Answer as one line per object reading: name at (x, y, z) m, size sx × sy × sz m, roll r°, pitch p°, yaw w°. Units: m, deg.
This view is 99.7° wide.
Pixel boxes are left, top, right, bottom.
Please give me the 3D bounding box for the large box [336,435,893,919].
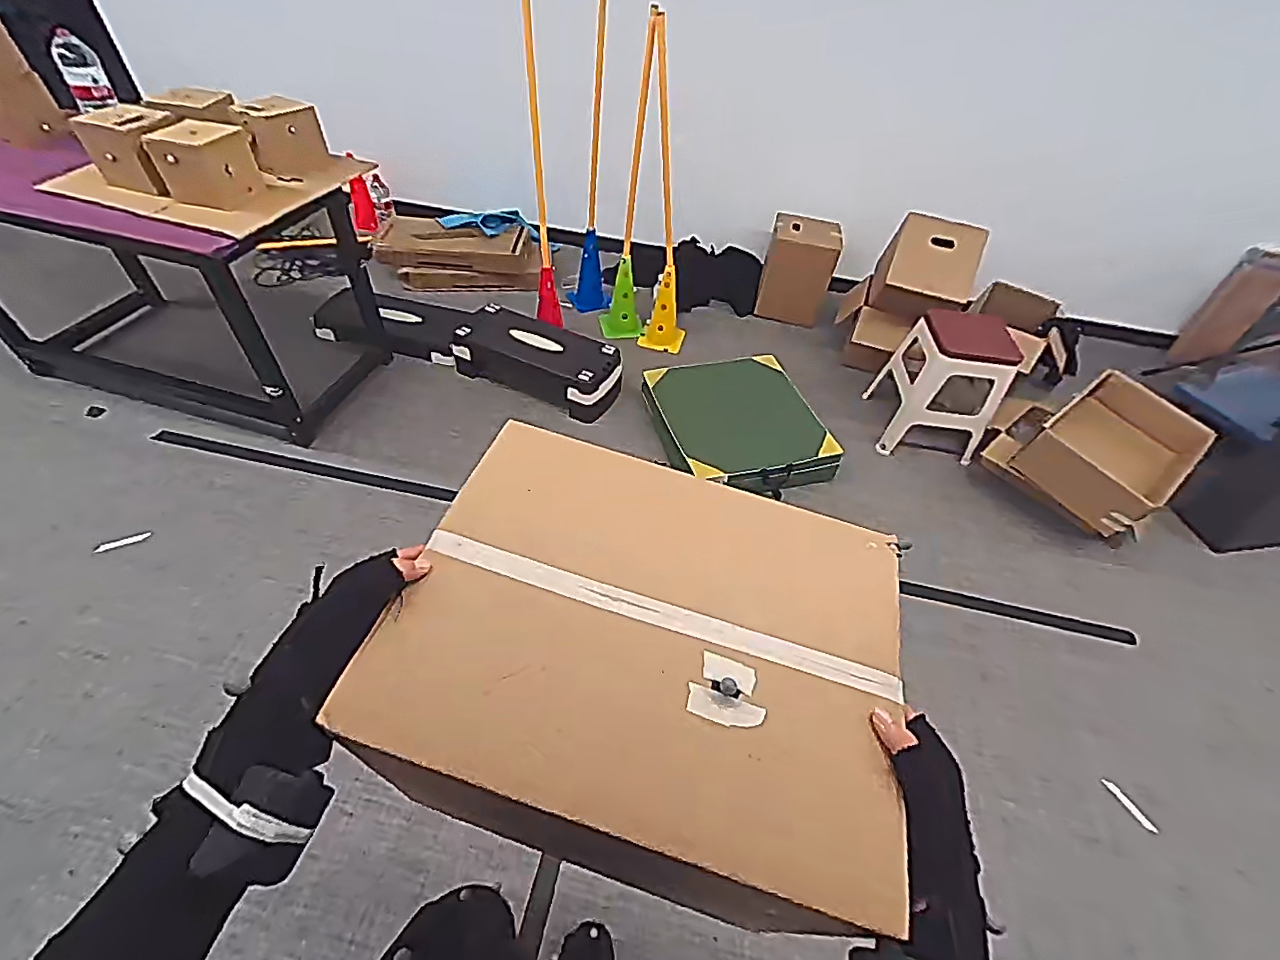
large box at (-0.007, 0.210, 0.571) m, size 0.408 × 0.320 × 0.320 m, roll 17°, pitch 52°, yaw 4°
